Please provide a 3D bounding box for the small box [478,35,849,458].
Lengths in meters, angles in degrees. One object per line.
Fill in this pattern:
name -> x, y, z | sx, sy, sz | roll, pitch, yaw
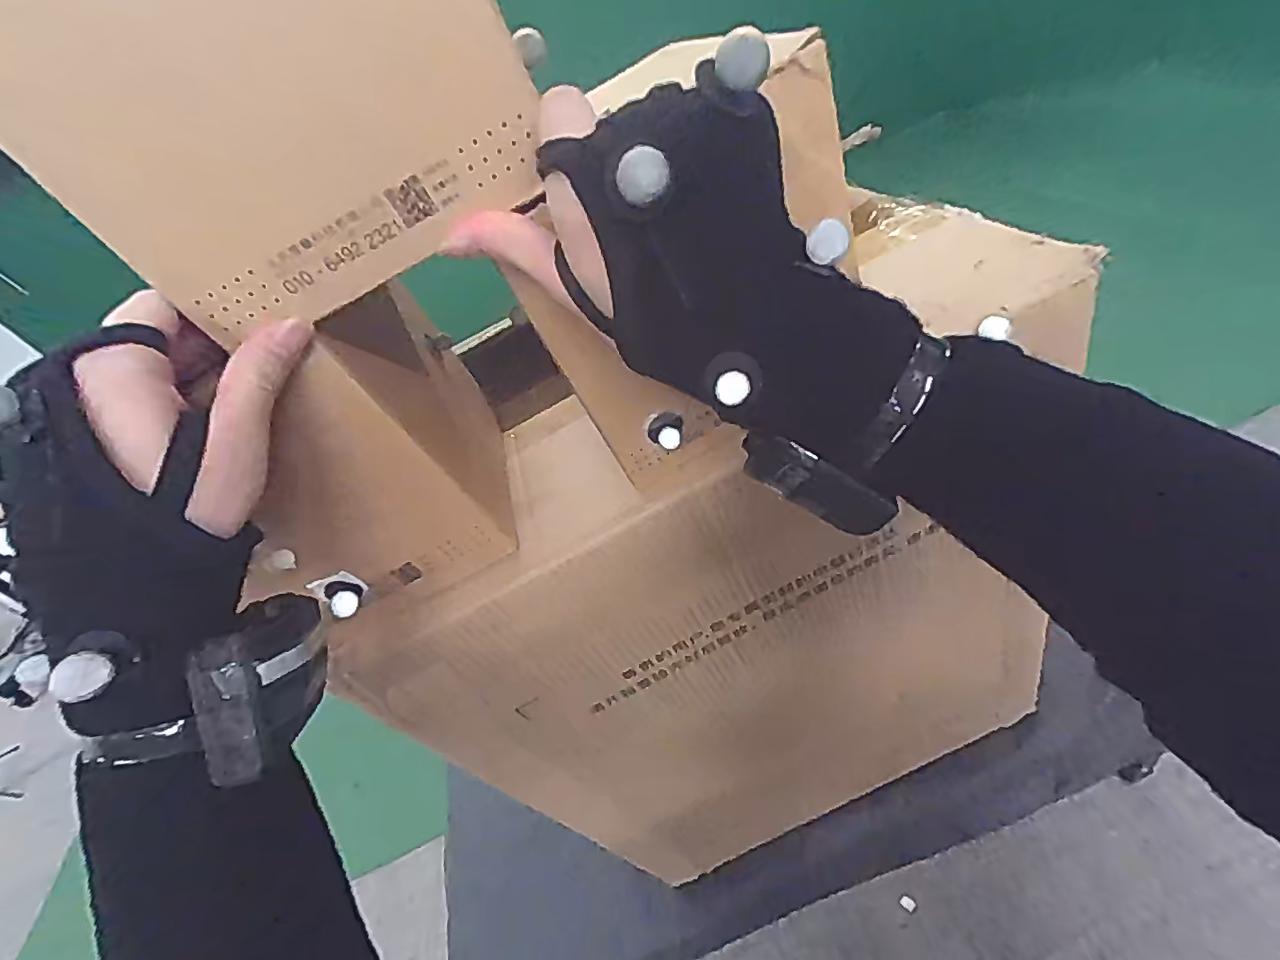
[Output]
small box -> 0.008, -0.138, 0.342 | 0.168, 0.176, 0.179 | -30, 40, 0

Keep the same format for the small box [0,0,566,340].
small box -> -0.149, -0.190, 0.238 | 0.168, 0.176, 0.179 | -27, 40, 4
